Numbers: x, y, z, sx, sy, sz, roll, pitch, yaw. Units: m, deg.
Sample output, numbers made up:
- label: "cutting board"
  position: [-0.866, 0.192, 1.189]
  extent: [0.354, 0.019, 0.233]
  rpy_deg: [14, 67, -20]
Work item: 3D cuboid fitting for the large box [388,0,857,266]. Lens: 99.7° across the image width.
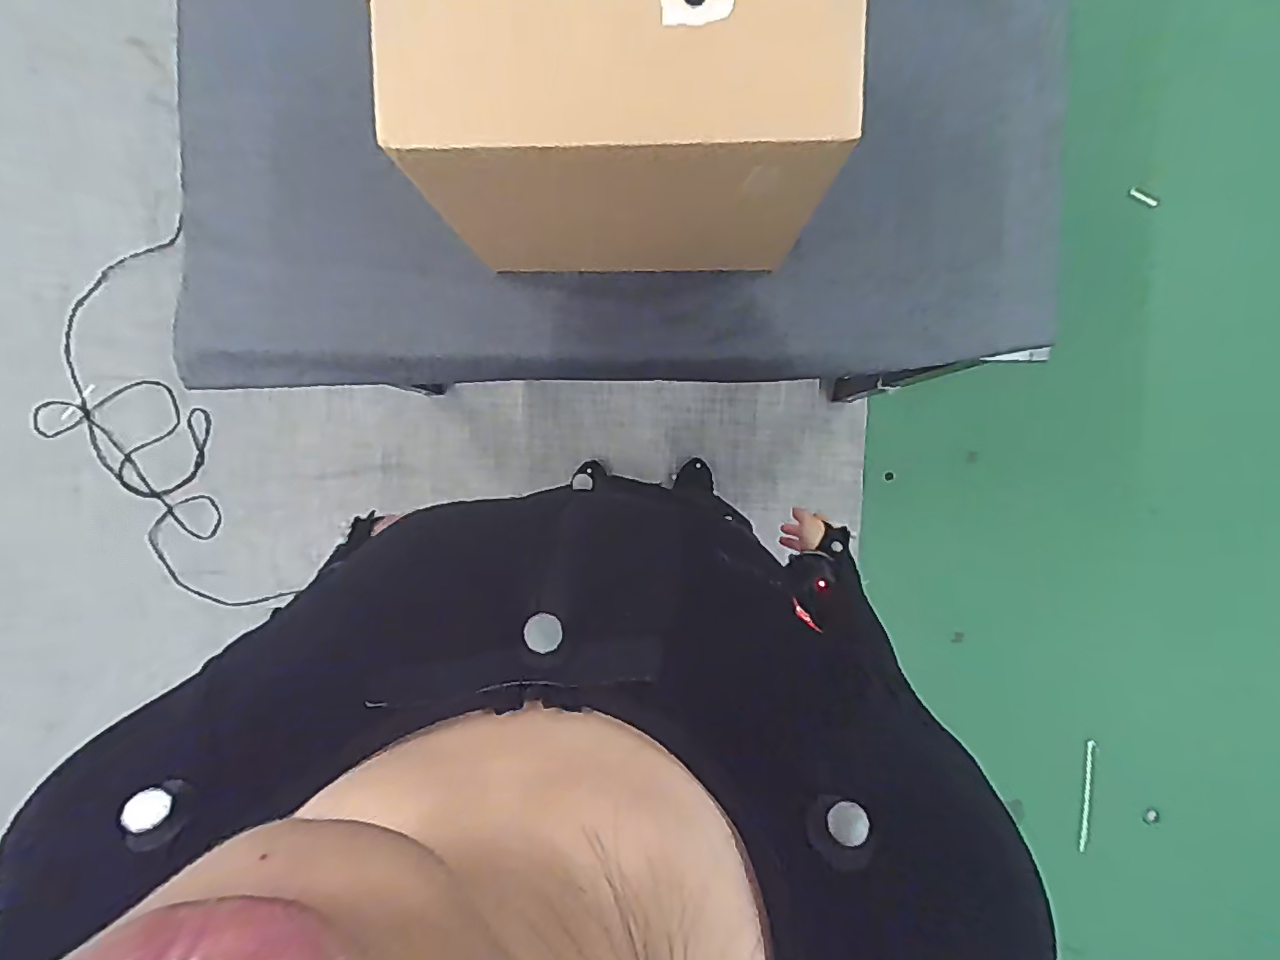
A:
- label: "large box"
  position: [-0.015, -0.450, 0.603]
  extent: [0.408, 0.320, 0.320]
  rpy_deg: [0, 93, 1]
